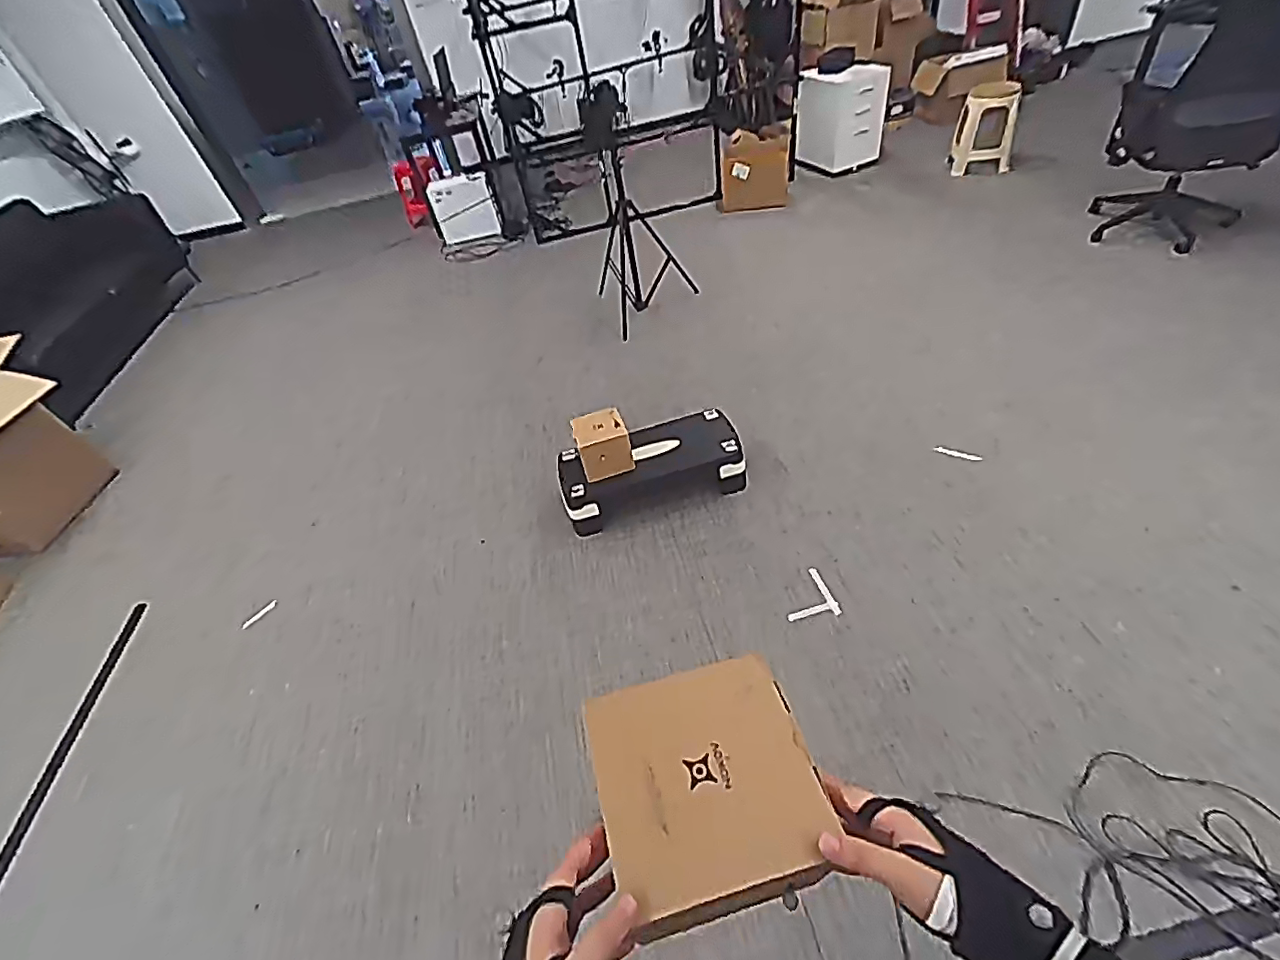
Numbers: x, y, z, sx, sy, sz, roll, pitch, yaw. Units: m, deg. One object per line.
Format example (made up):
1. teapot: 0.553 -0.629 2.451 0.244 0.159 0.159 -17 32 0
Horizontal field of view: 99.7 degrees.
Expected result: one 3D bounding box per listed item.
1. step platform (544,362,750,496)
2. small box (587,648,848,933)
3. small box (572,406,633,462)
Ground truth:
1. step platform: 0.024 -0.176 1.871 0.684 0.204 0.286 -16 44 -4
2. small box: 0.059 0.289 0.504 0.179 0.176 0.168 -14 46 -8
3. small box: -0.131 -0.129 1.911 0.179 0.176 0.168 -18 45 -5
